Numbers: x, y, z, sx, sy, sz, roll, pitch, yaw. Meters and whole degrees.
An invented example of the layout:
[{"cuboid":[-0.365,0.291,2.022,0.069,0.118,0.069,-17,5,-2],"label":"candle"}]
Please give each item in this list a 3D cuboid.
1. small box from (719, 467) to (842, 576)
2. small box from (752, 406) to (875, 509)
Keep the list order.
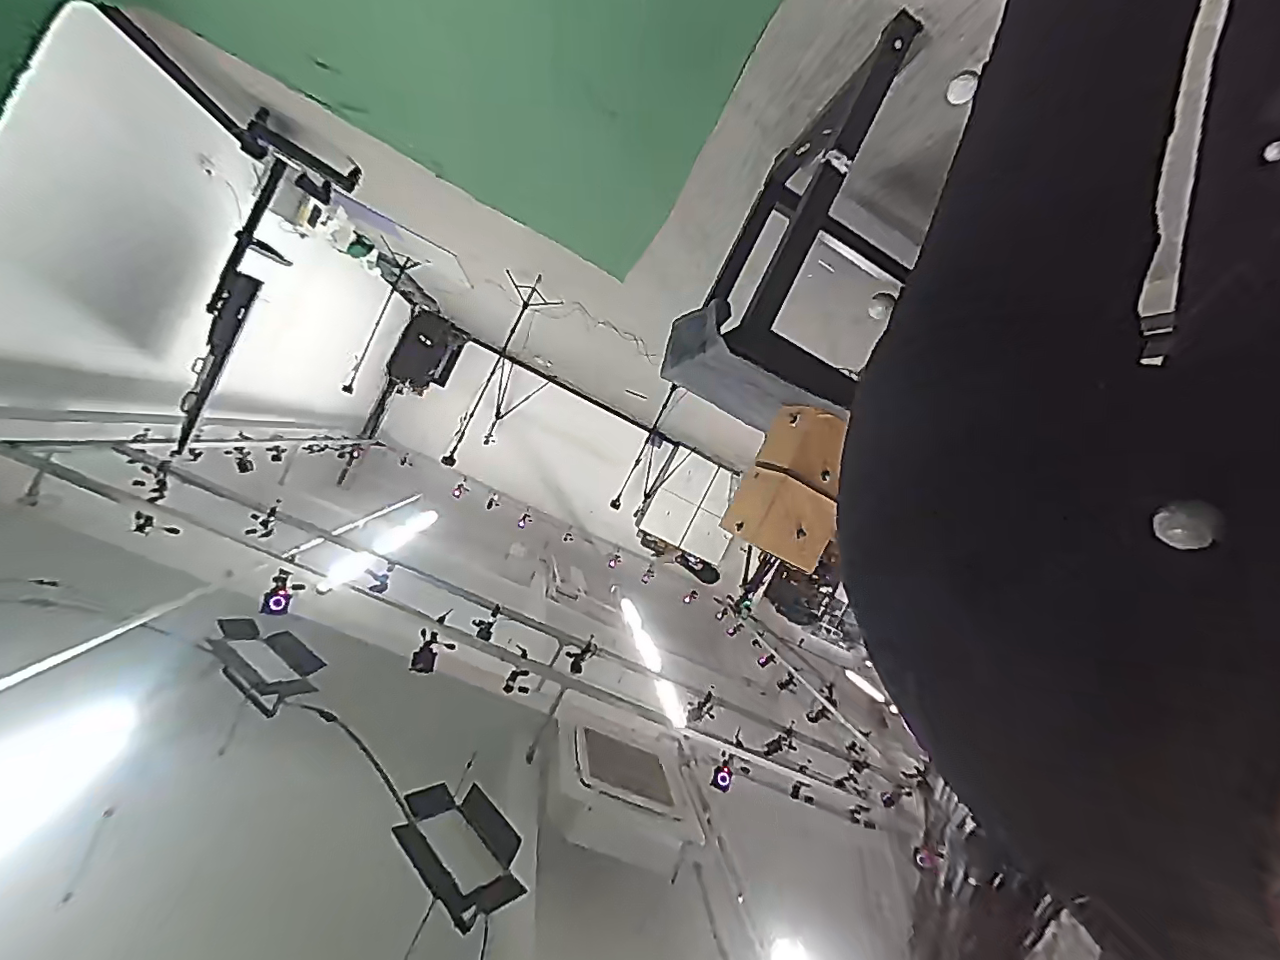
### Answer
[{"cuboid":[0.315,0.088,1.212,0.179,0.176,0.168,26,180,-18],"label":"small box"},{"cuboid":[0.395,-0.056,1.231,0.179,0.176,0.168,27,179,-15],"label":"small box"}]
